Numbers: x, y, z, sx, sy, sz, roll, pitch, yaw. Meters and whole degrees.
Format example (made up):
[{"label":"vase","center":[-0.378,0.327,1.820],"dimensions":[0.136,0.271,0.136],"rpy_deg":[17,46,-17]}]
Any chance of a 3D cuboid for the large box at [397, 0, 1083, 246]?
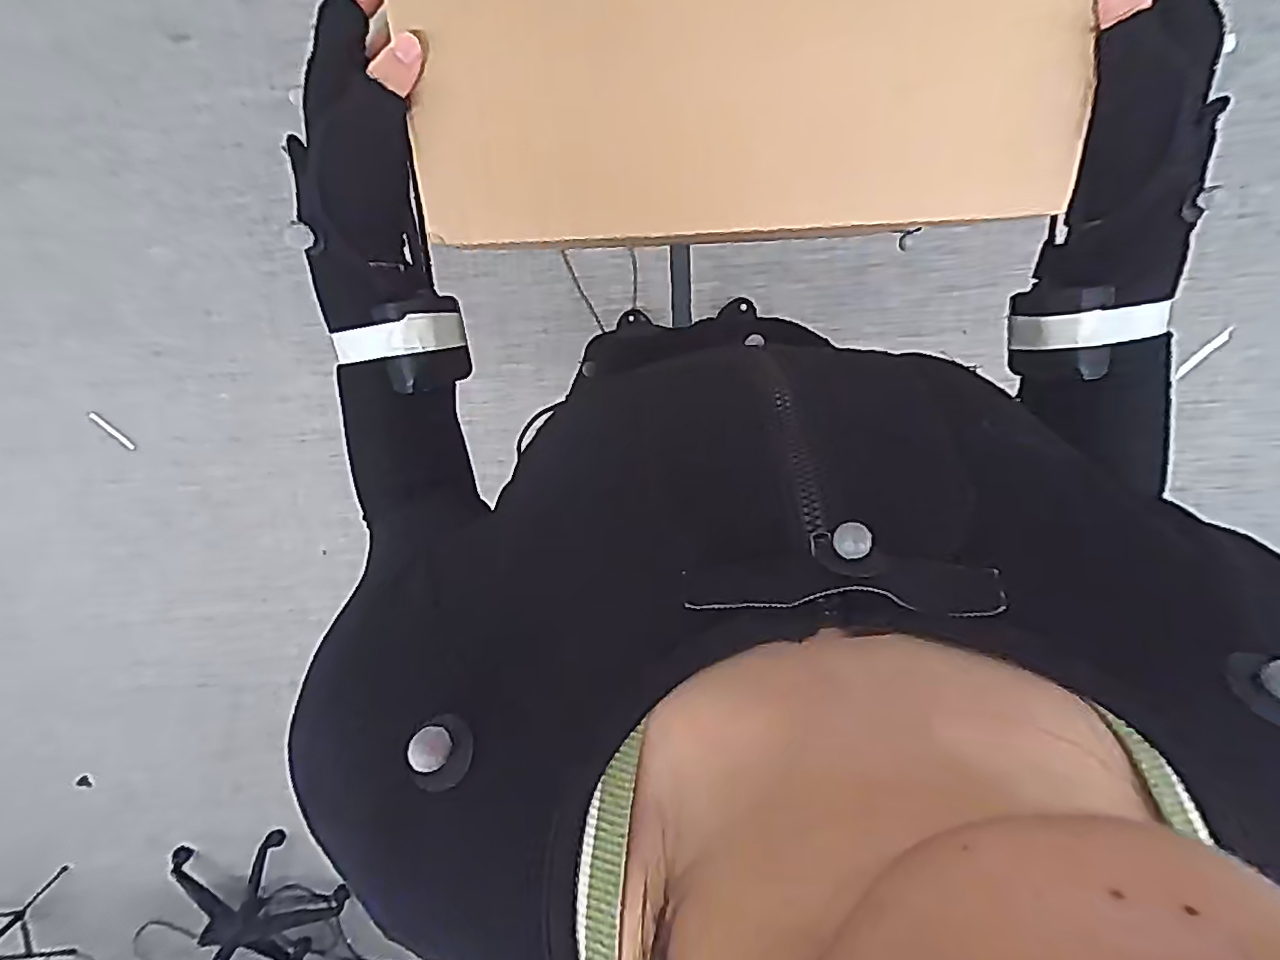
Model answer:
[{"label":"large box","center":[0.057,-0.366,0.432],"dimensions":[0.408,0.320,0.320],"rpy_deg":[-3,113,0]}]
